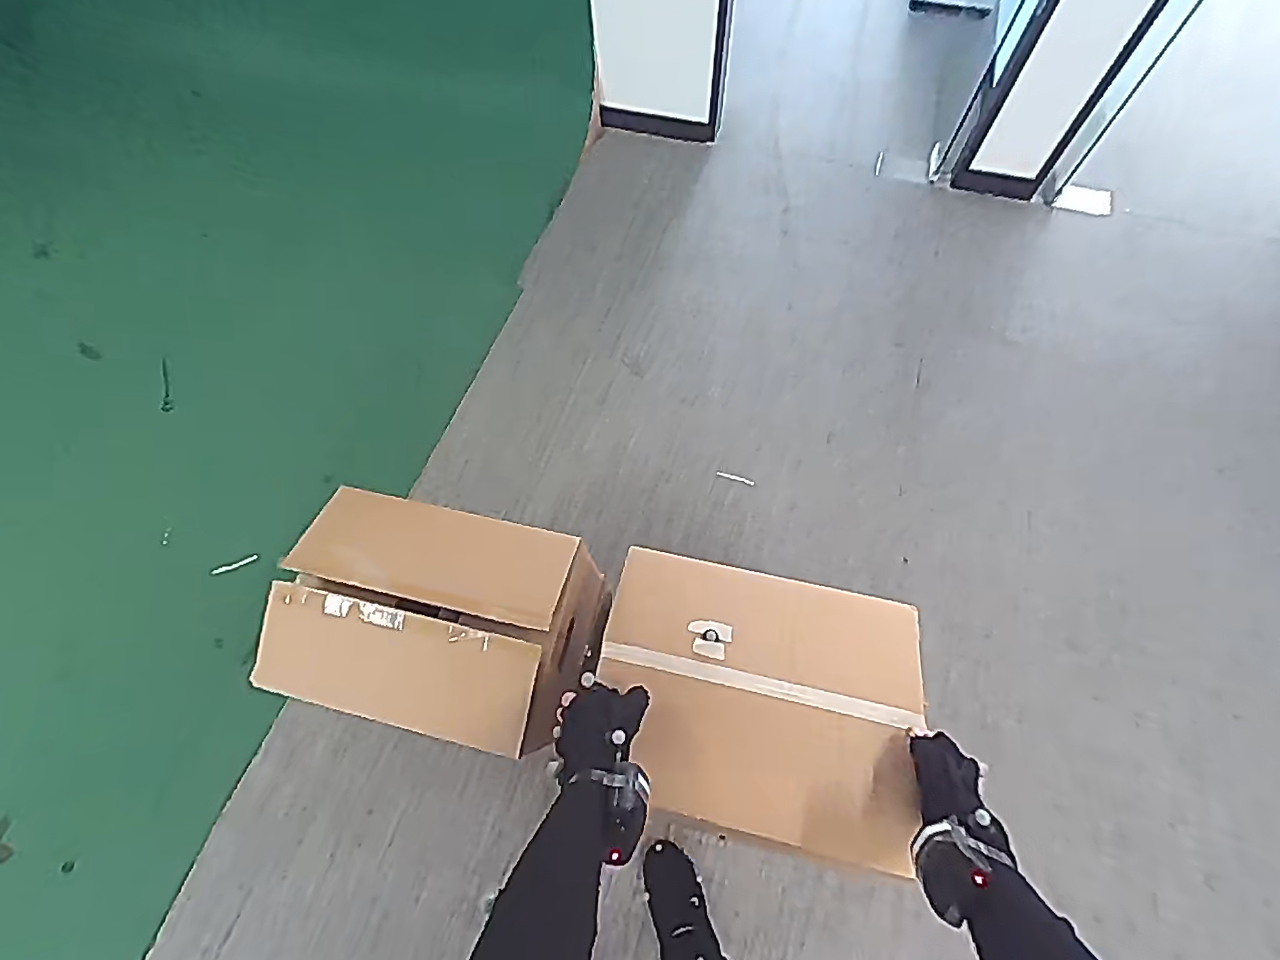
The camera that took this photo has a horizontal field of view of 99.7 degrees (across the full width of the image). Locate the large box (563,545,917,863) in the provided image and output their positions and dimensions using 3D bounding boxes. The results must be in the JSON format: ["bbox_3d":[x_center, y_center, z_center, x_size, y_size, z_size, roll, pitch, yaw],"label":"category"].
[{"bbox_3d":[0.142,0.330,0.804,0.408,0.320,0.320,10,57,9],"label":"large box"}]
